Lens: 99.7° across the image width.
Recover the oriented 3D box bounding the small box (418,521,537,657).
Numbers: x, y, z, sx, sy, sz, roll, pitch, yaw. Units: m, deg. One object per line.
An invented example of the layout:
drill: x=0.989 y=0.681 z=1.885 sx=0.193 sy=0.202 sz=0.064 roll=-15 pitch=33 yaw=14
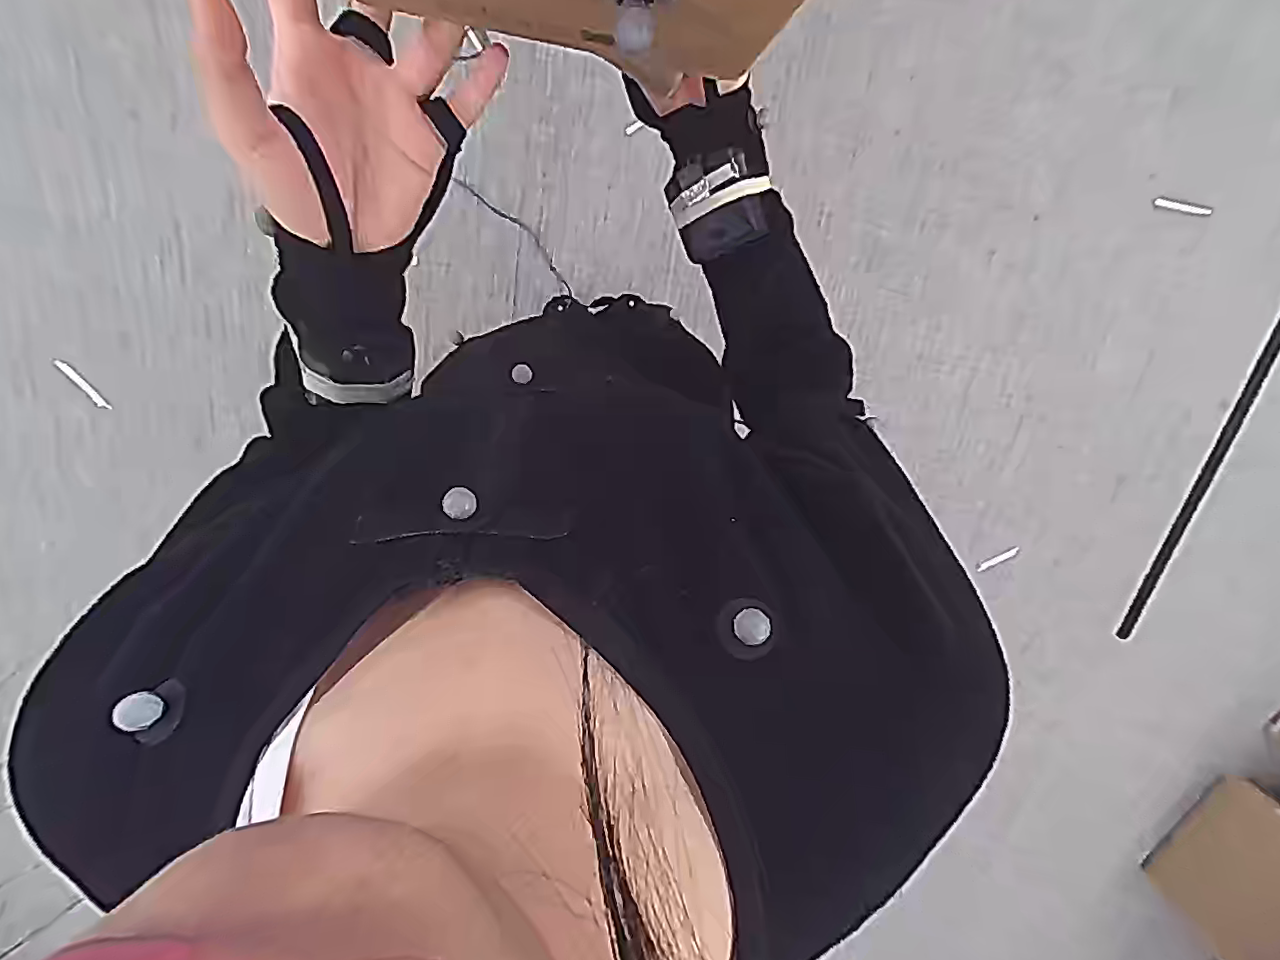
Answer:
small box: x=-0.294 y=0.195 z=1.010 sx=0.168 sy=0.176 sz=0.179 roll=13 pitch=107 yaw=-6

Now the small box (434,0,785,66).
small box: x=-0.017 y=-0.227 z=0.121 sx=0.168 sy=0.176 sz=0.179 roll=7 pitch=115 yaw=-6

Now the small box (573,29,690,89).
small box: x=-0.008 y=-0.328 z=0.253 sx=0.168 sy=0.176 sz=0.179 roll=26 pitch=113 yaw=-13
